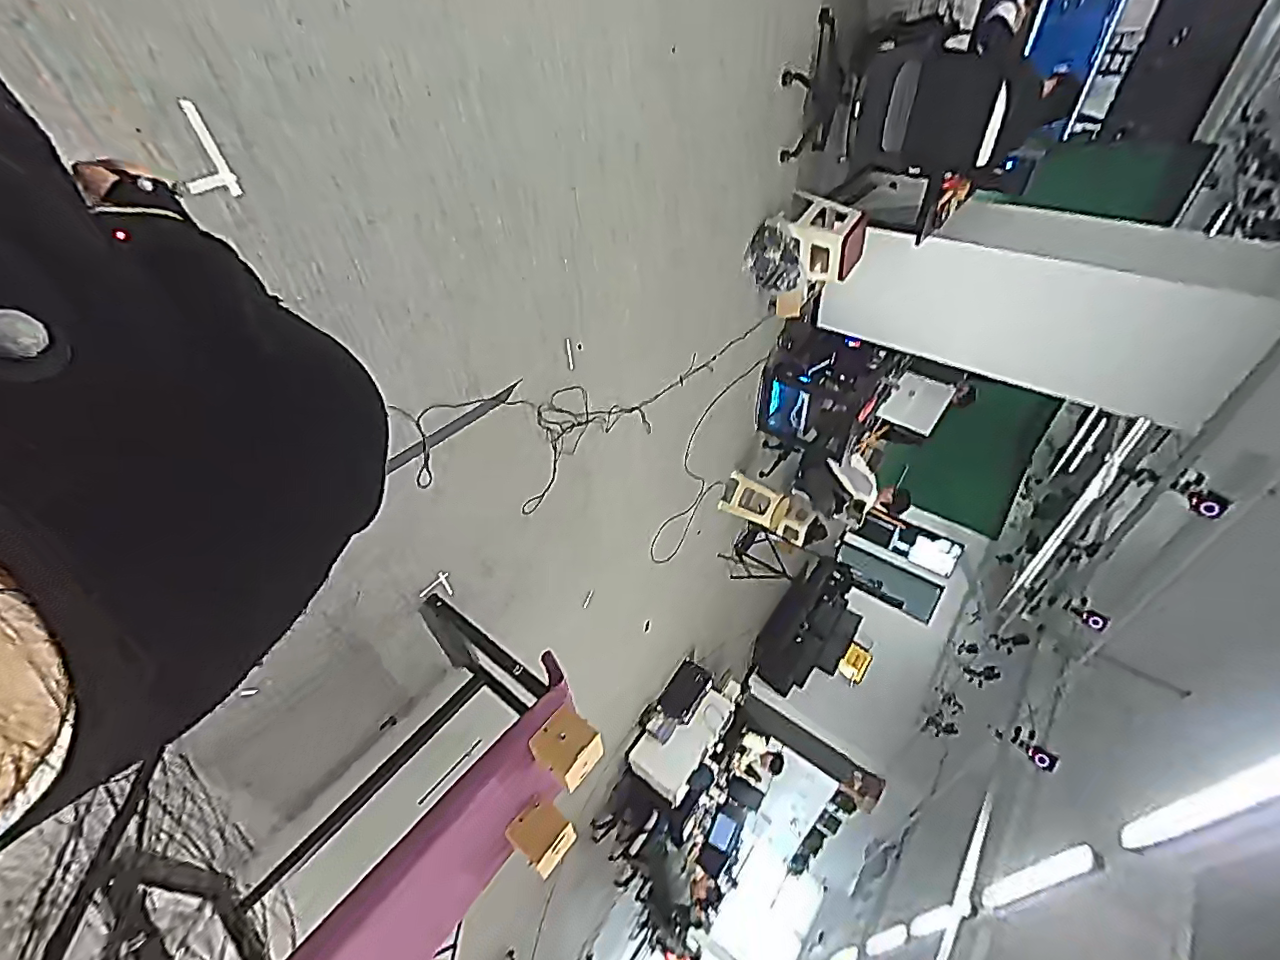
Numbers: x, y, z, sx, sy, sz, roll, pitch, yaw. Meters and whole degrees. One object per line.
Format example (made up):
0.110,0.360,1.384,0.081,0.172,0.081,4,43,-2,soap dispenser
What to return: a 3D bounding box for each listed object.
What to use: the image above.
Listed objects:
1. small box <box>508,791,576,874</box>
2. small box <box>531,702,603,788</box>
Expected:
-0.354,1.263,1.949,0.168,0.176,0.179,-41,144,-35,small box
-0.244,0.879,1.807,0.168,0.176,0.179,-41,145,-34,small box
